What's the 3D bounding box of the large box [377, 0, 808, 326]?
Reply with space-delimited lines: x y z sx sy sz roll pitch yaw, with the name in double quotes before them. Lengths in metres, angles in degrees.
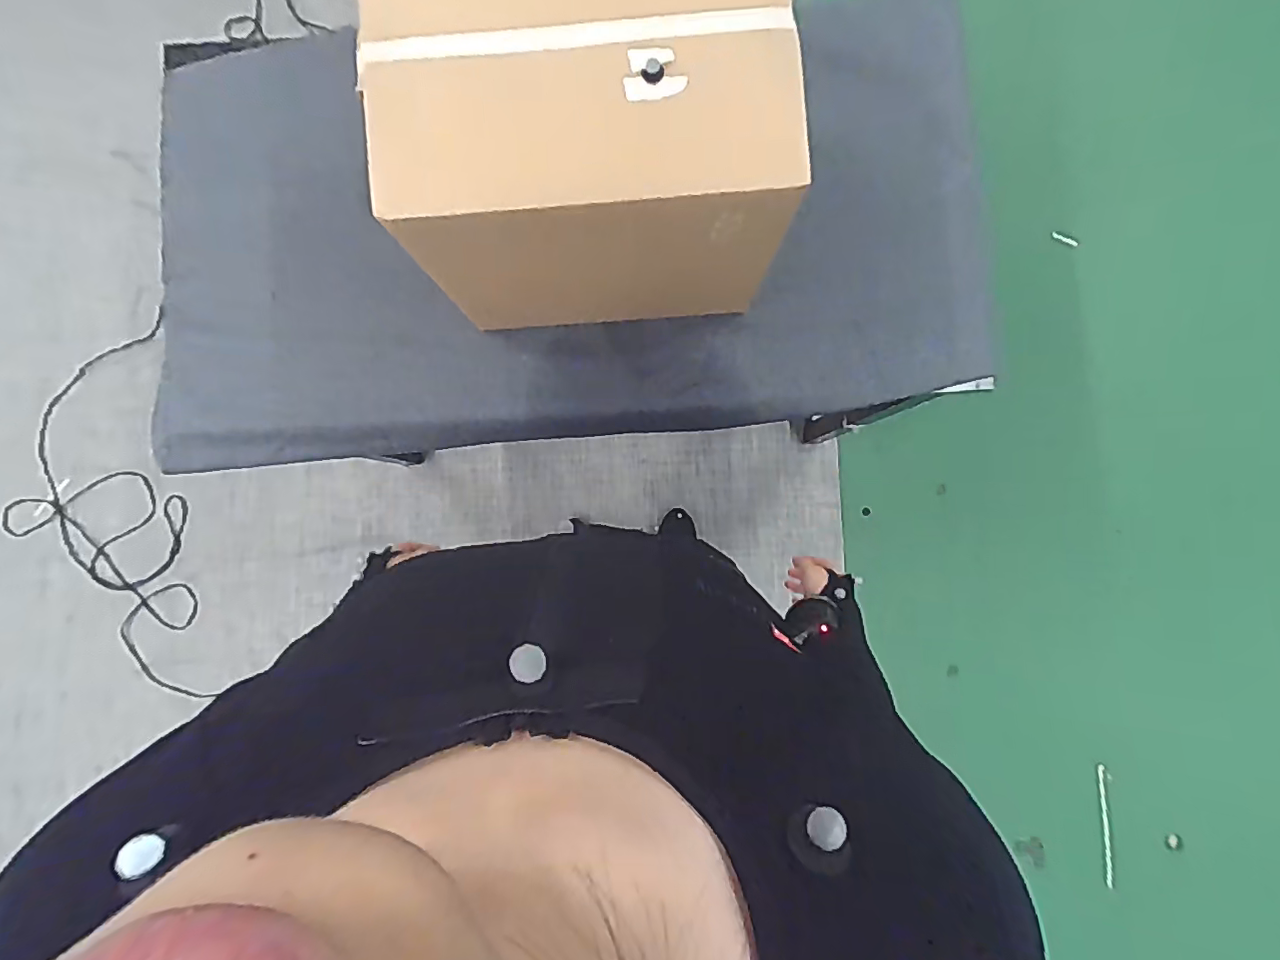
"large box" -0.052 -0.405 0.665 0.408 0.320 0.320 -5 87 0
